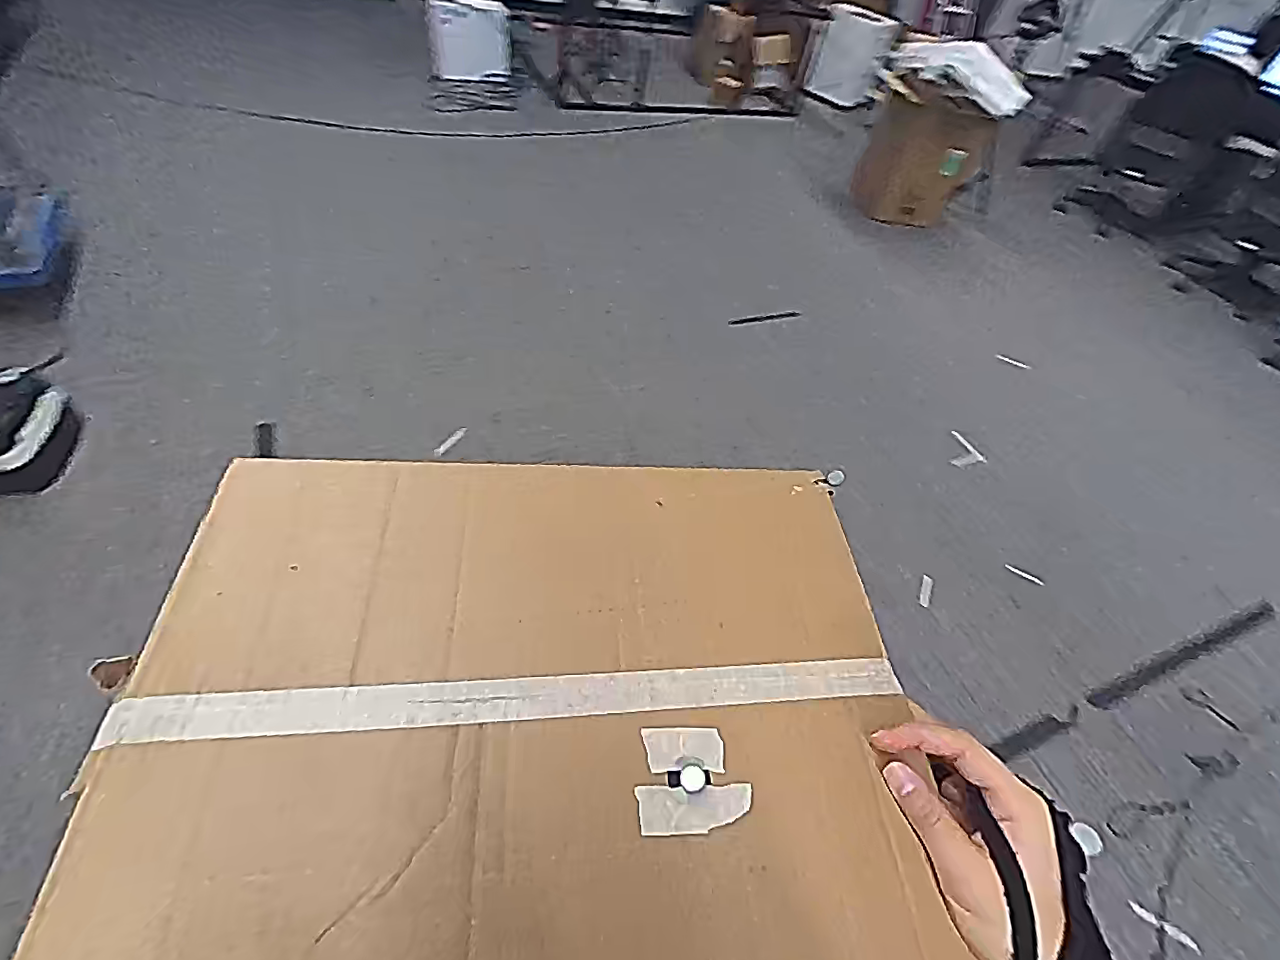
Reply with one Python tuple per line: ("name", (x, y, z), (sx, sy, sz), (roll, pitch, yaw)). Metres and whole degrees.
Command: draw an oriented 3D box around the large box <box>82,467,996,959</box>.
("large box", (-0.059, 0.208, 0.420), (0.408, 0.320, 0.320), (3, 55, -10))
